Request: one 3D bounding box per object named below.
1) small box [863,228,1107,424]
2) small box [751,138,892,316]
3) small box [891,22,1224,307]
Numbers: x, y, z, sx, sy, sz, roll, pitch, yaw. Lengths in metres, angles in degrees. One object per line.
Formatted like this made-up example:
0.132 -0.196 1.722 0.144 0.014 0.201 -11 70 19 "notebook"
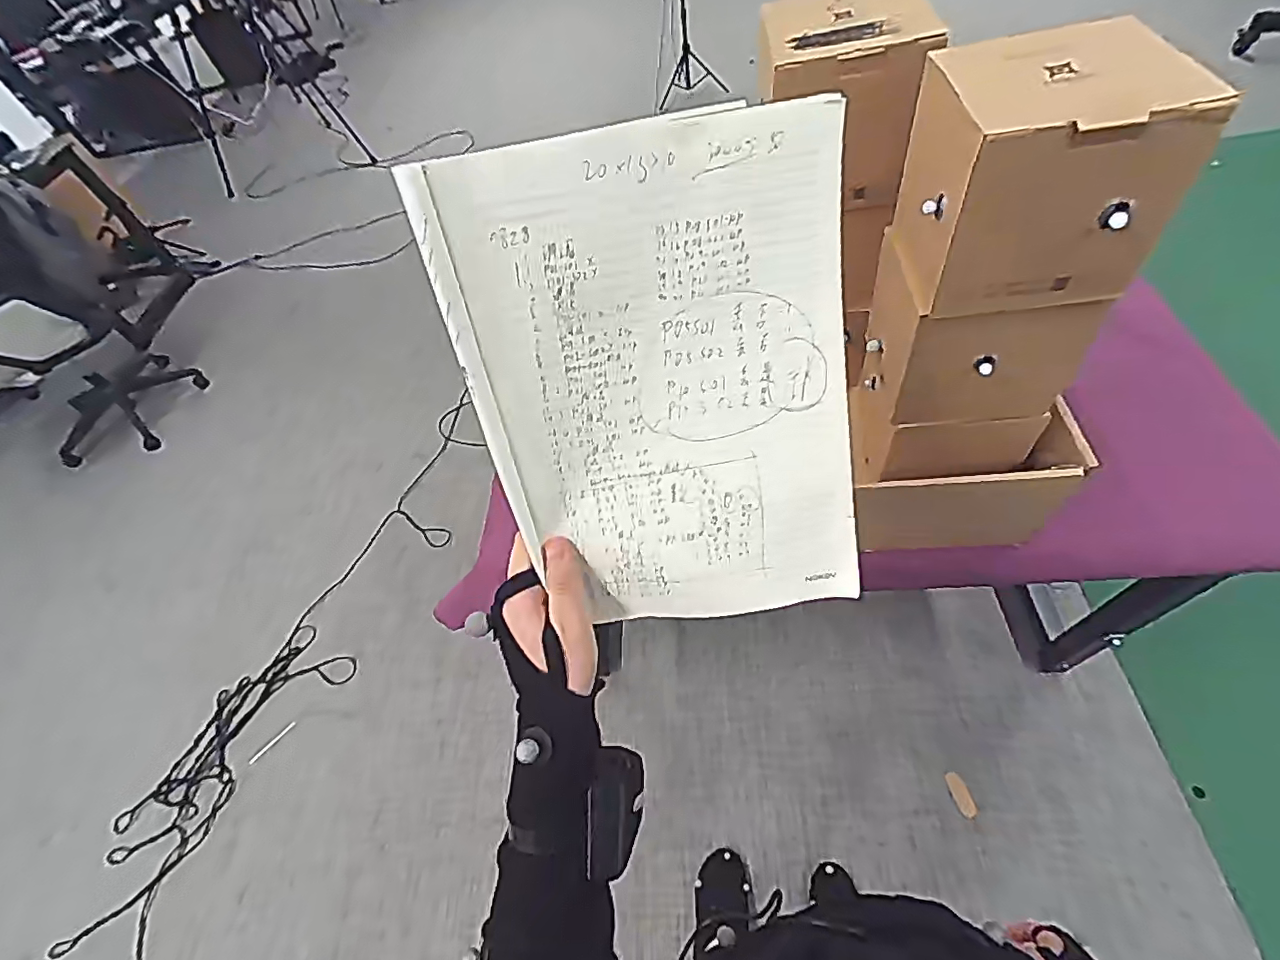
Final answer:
0.375 -0.183 0.630 0.179 0.176 0.168 -4 53 12 "small box"
0.251 -0.356 0.786 0.168 0.176 0.179 -3 56 10 "small box"
0.347 -0.277 0.500 0.168 0.176 0.179 -3 53 11 "small box"
